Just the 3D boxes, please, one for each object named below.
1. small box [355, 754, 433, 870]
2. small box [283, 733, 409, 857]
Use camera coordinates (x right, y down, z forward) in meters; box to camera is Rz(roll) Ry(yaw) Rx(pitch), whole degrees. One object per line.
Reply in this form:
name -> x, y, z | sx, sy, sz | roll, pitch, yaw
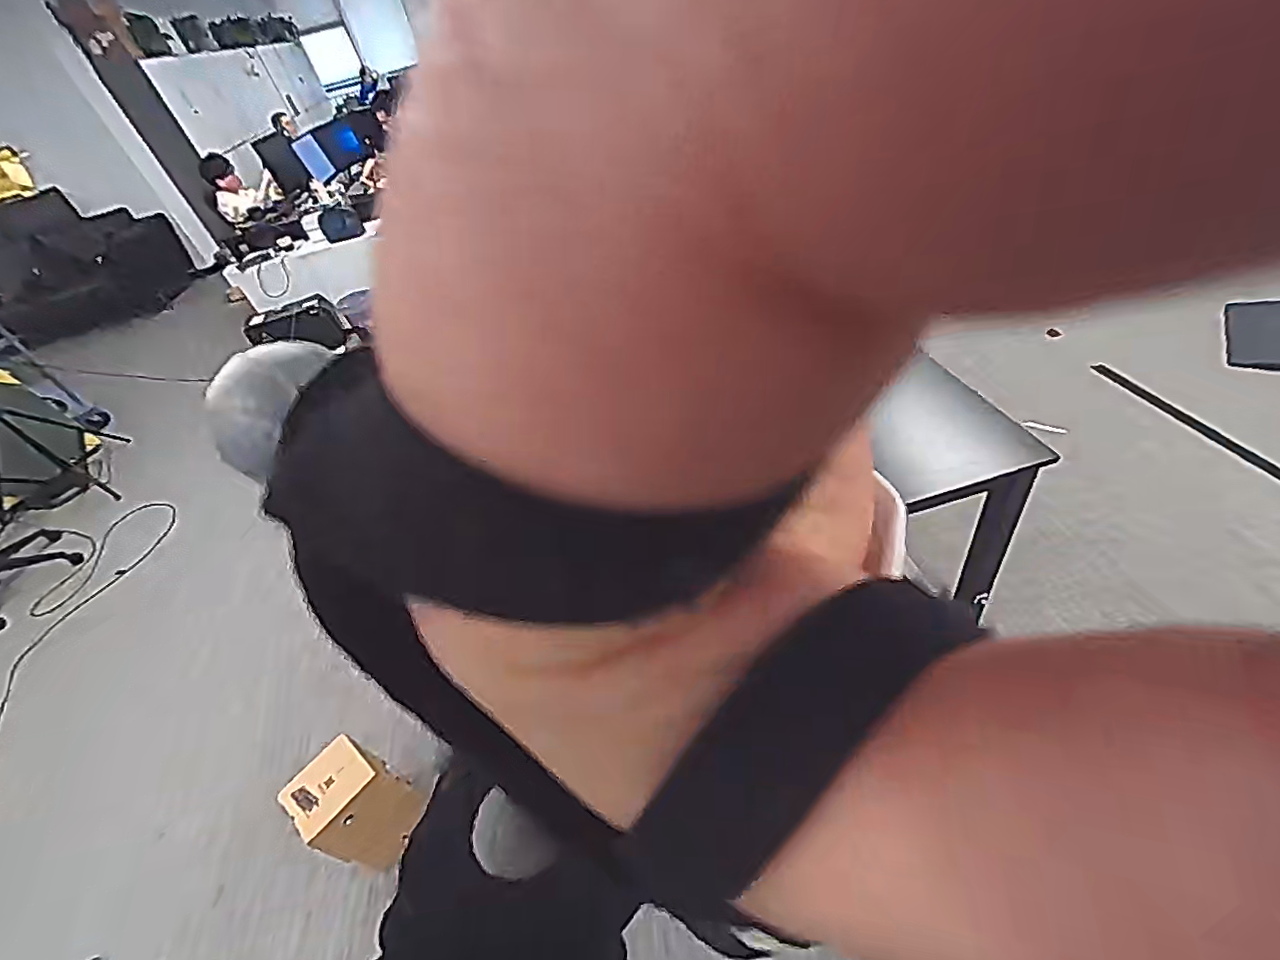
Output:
small box -> -0.672, 0.870, 1.416 | 0.168, 0.176, 0.179 | 21, 52, 33
small box -> -0.696, 0.757, 1.296 | 0.168, 0.176, 0.179 | 23, 54, 34
